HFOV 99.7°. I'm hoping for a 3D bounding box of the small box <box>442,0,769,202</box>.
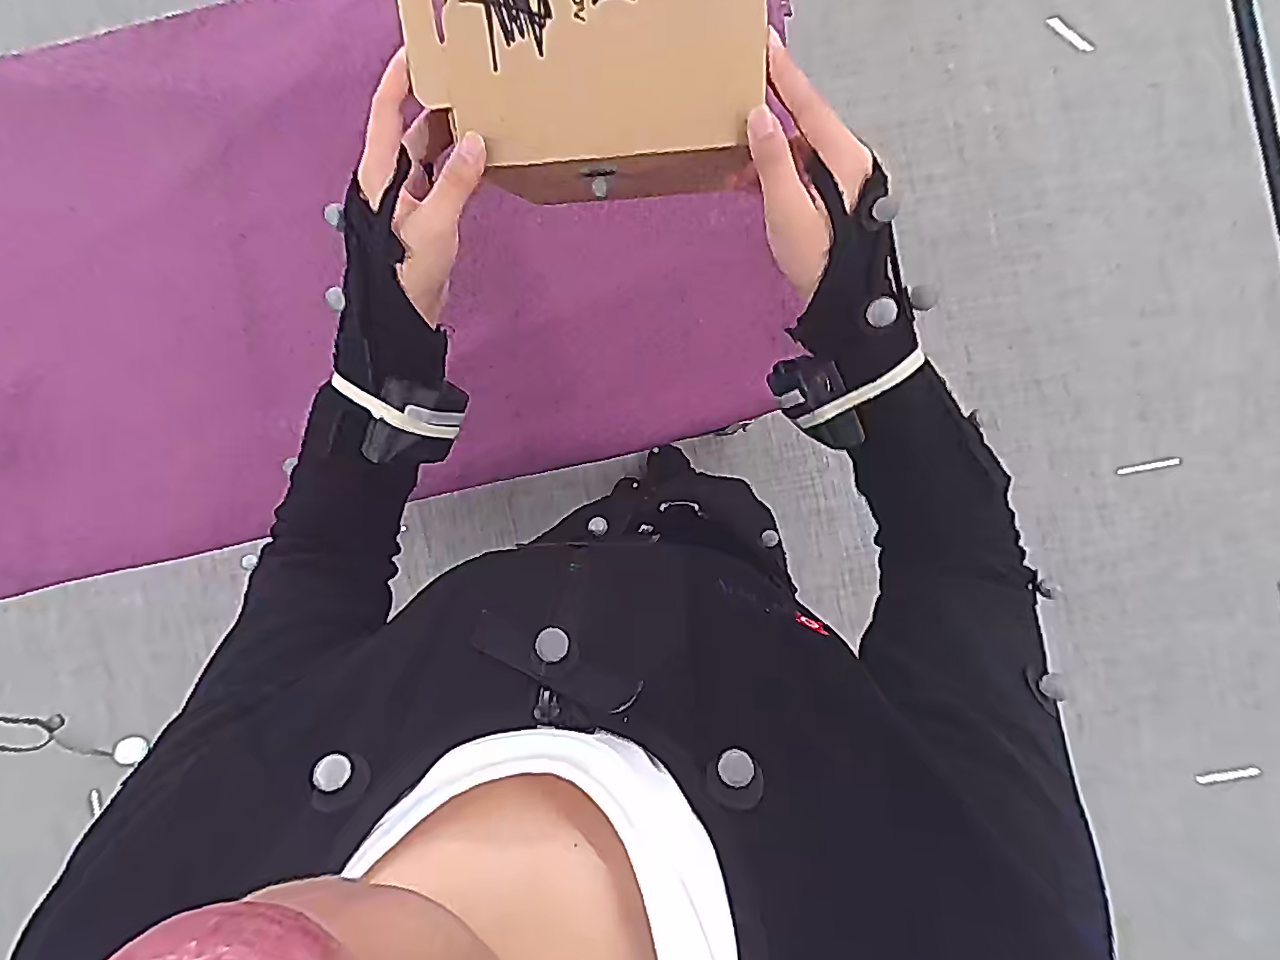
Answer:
[{"bbox_3d":[-0.015,-0.288,0.355,0.179,0.176,0.168,-2,110,4],"label":"small box"}]
